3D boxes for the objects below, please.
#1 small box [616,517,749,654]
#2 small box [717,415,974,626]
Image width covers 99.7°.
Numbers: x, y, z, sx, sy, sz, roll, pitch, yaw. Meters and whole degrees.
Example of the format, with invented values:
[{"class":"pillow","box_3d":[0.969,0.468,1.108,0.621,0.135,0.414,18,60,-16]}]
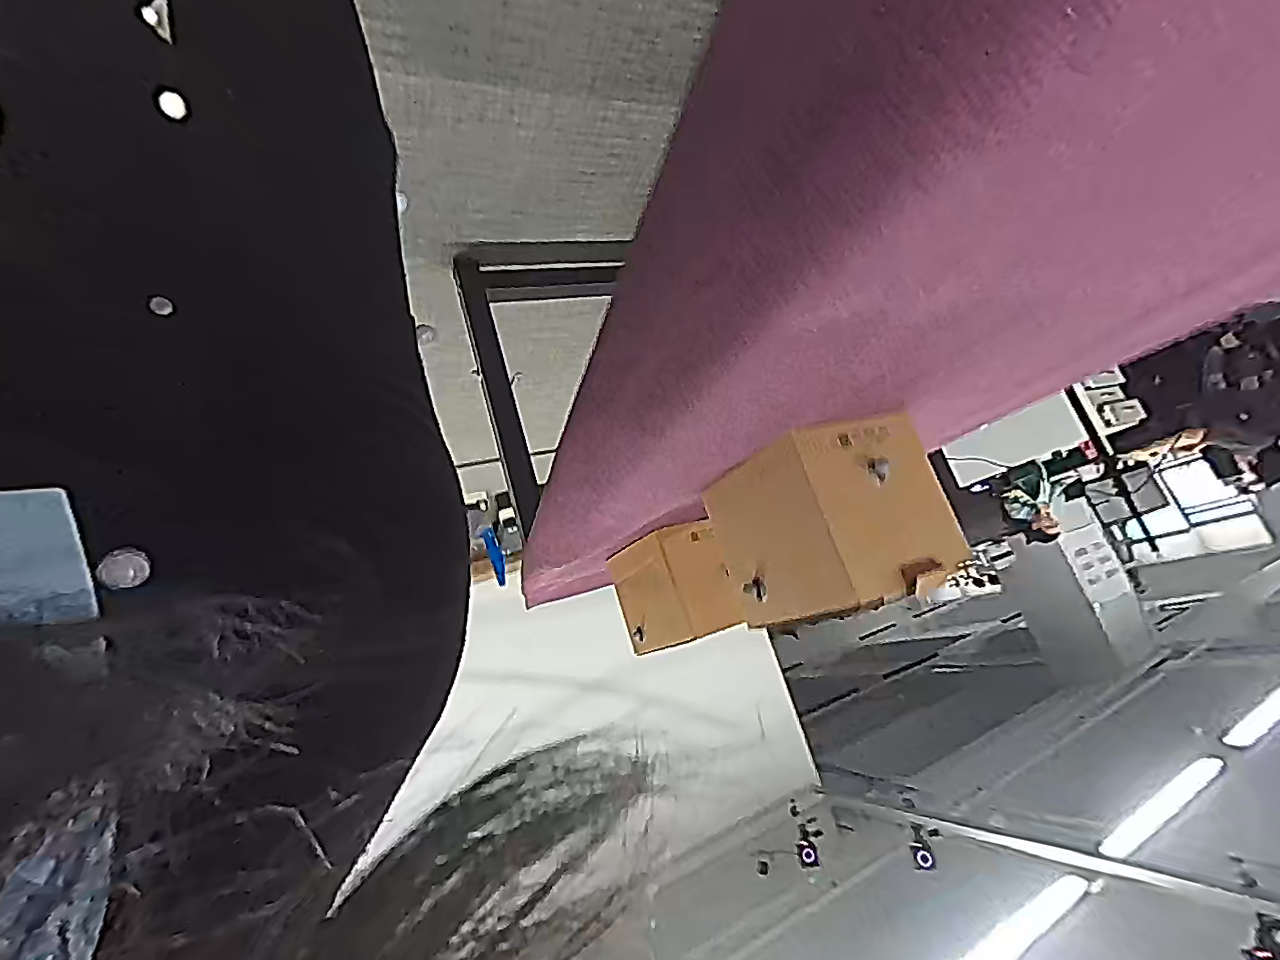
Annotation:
[{"class":"small box","box_3d":[0.081,0.162,0.869,0.168,0.176,0.179,-8,162,-34]},{"class":"small box","box_3d":[0.203,0.045,0.585,0.168,0.176,0.179,-11,164,-27]}]
